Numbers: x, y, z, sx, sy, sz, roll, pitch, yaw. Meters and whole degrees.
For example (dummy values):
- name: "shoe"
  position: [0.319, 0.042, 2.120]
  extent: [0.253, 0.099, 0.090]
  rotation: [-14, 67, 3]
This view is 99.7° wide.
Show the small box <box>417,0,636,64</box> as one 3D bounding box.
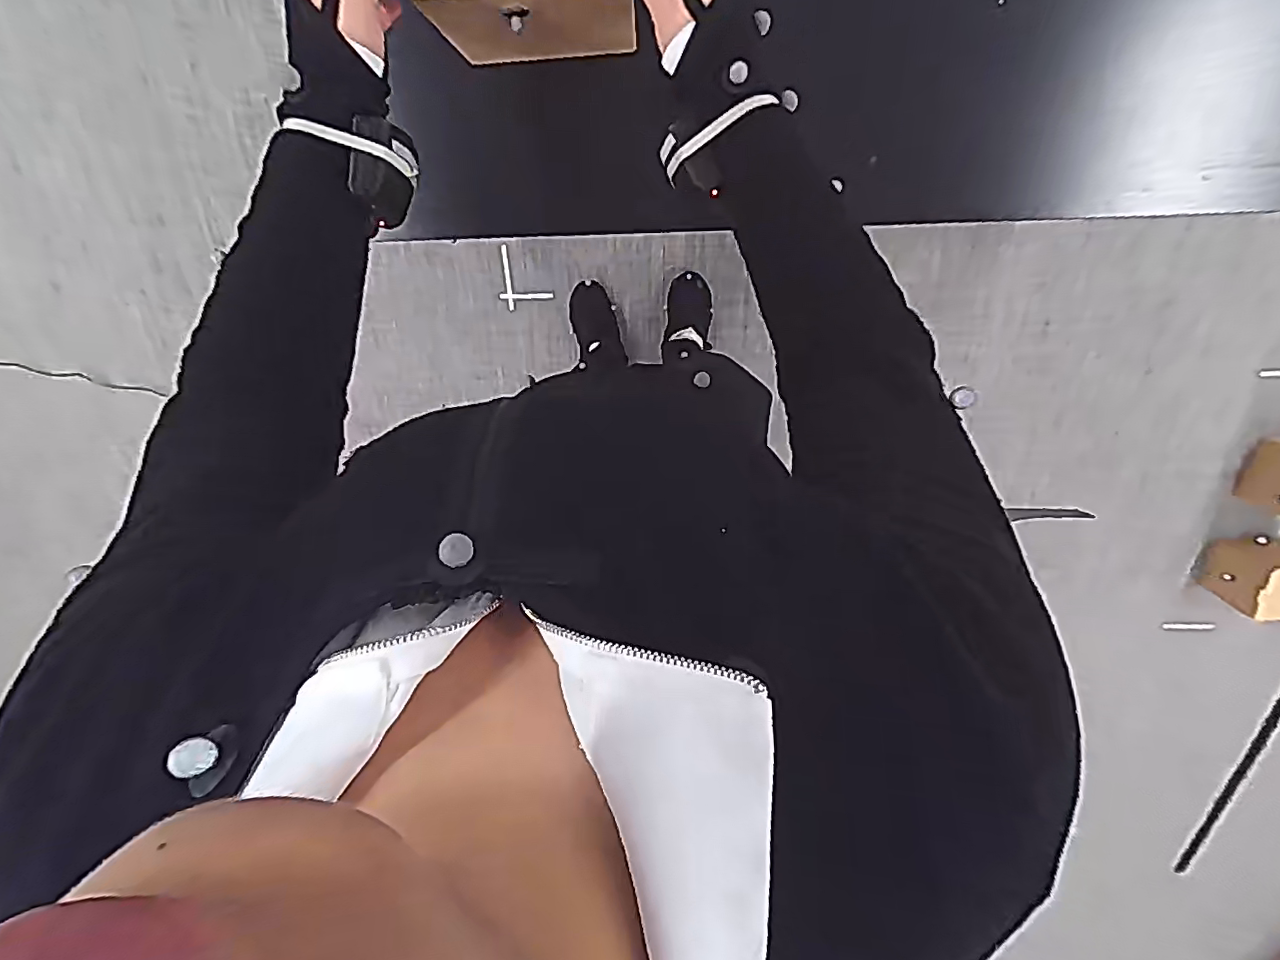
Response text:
- name: "small box"
  position: [-0.097, -0.488, 0.470]
  extent: [0.179, 0.176, 0.168]
  rotation: [-3, 113, 2]

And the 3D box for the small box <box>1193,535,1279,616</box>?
- name: "small box"
  position: [1.750, 0.268, 1.536]
  extent: [0.179, 0.176, 0.168]
  rotation: [-3, 114, 4]

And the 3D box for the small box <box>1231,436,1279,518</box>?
- name: "small box"
  position: [1.732, -0.003, 1.414]
  extent: [0.168, 0.176, 0.179]
  rotation: [1, 113, 1]
